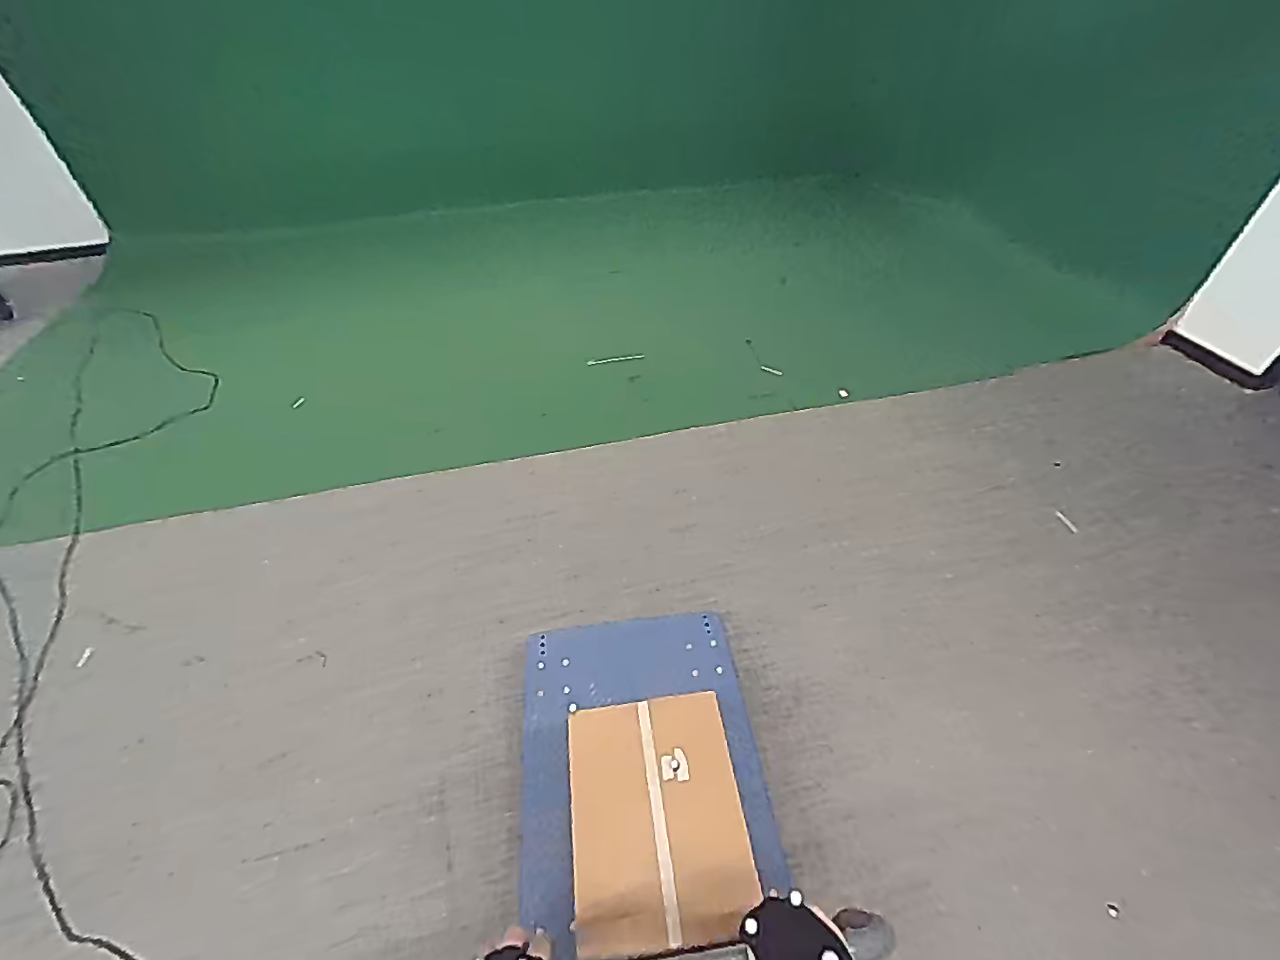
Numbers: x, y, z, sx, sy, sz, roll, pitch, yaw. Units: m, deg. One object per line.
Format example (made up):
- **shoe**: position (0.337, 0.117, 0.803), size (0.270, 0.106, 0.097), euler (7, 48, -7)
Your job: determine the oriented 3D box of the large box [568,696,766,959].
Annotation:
- **large box**: position (0.035, 0.723, 1.106), size (0.320, 0.320, 0.408), euler (-6, 44, -4)
